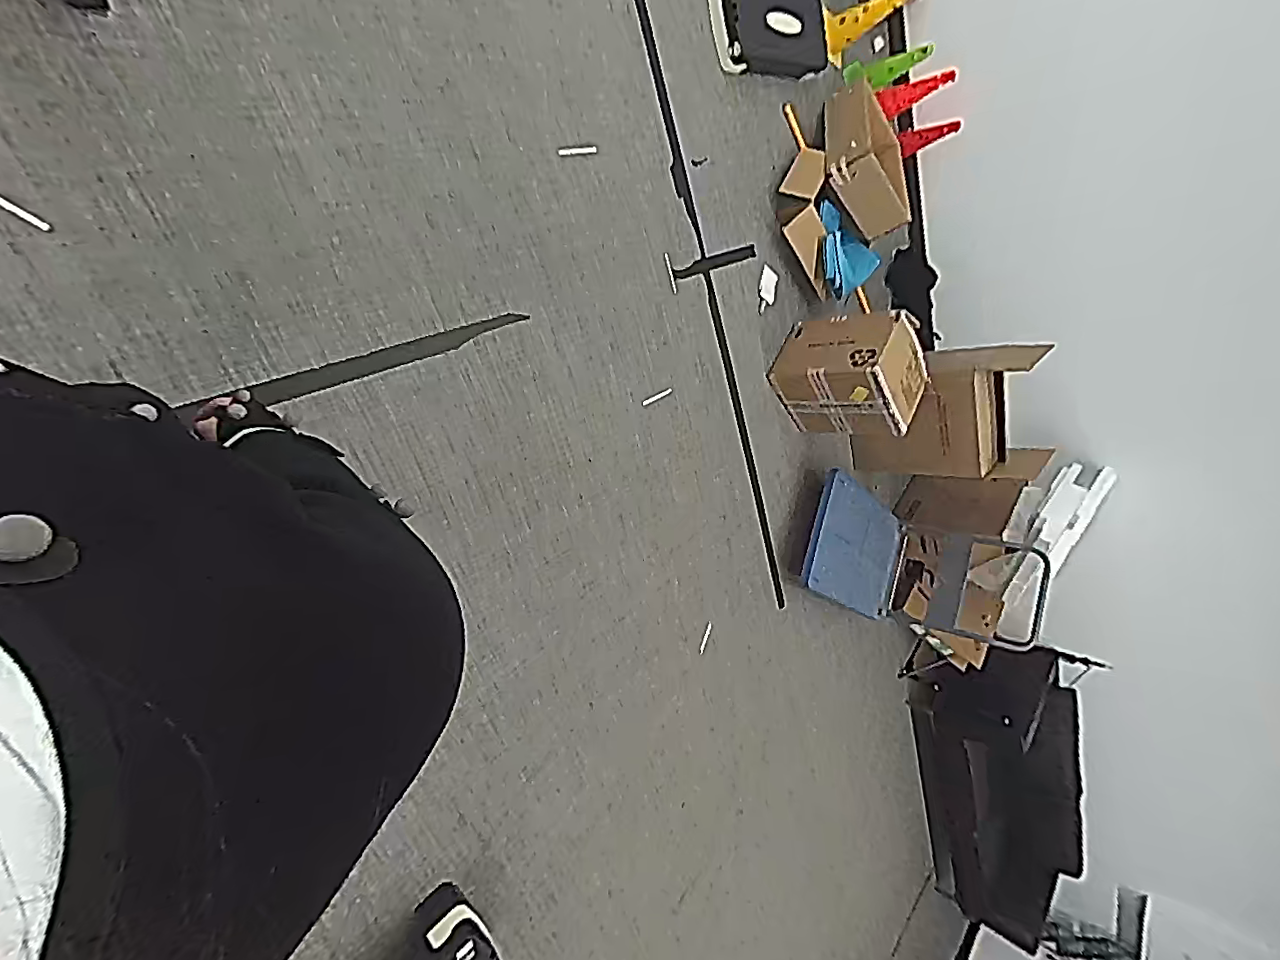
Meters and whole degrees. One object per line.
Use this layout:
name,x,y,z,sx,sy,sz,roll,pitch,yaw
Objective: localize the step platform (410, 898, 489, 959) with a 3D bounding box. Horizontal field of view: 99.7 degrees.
step platform,-0.683,1.428,1.304,0.684,0.204,0.286,-33,116,-37
